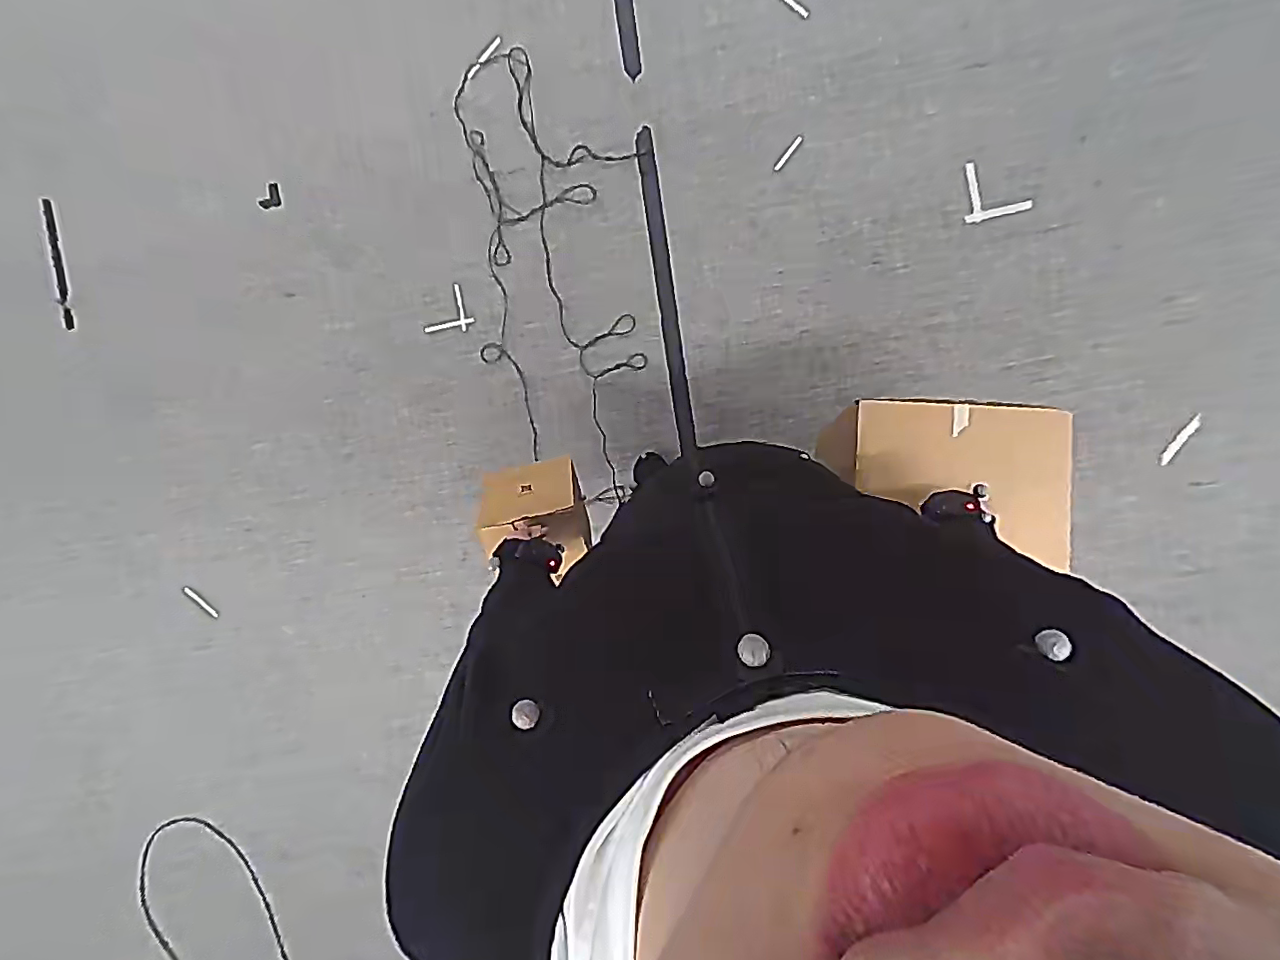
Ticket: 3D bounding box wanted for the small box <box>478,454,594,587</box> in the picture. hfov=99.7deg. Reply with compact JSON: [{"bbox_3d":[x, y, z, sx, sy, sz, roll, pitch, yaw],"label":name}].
[{"bbox_3d":[-0.186,0.079,1.001,0.168,0.179,0.176,-12,124,-2],"label":"small box"}]
